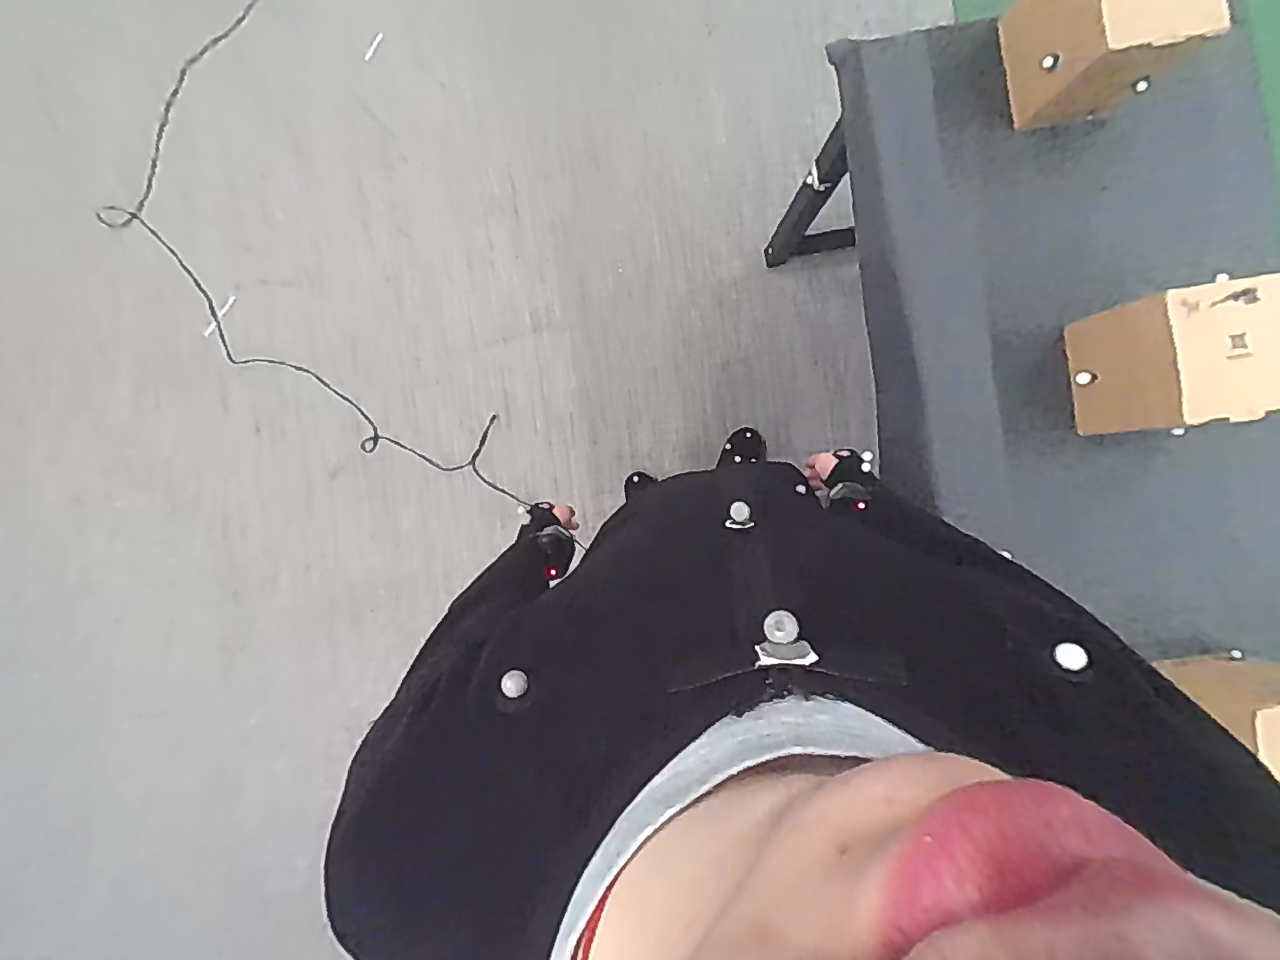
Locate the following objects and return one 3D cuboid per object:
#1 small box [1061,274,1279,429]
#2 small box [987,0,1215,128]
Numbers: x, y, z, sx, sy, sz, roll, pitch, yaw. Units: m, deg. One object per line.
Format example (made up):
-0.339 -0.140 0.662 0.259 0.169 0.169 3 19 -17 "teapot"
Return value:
0.755 -0.170 0.775 0.168 0.176 0.179 -9 91 -3 "small box"
0.640 -0.638 0.772 0.168 0.176 0.179 -12 89 -5 "small box"
